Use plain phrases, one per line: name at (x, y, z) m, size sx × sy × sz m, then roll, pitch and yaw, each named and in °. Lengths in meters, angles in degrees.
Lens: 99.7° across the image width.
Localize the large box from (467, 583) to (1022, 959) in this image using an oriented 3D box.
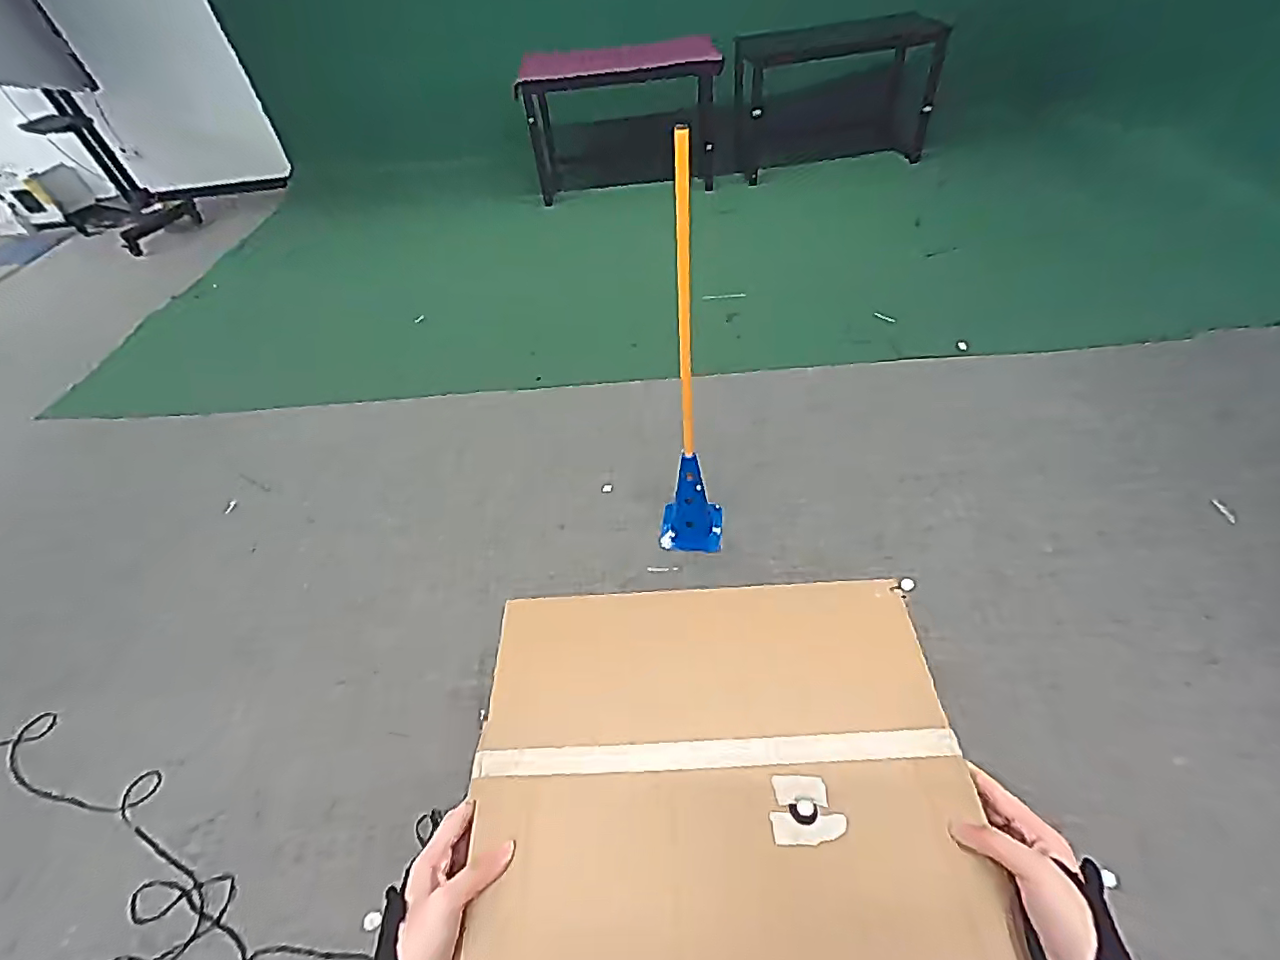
large box at (0.073, 0.333, 0.587) m, size 0.408 × 0.320 × 0.320 m, roll -3°, pitch 50°, yaw 2°

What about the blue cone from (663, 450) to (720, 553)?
blue cone at (0.162, 0.058, 1.737) m, size 0.193 × 0.380 × 0.192 m, roll 4°, pitch 47°, yaw 10°
